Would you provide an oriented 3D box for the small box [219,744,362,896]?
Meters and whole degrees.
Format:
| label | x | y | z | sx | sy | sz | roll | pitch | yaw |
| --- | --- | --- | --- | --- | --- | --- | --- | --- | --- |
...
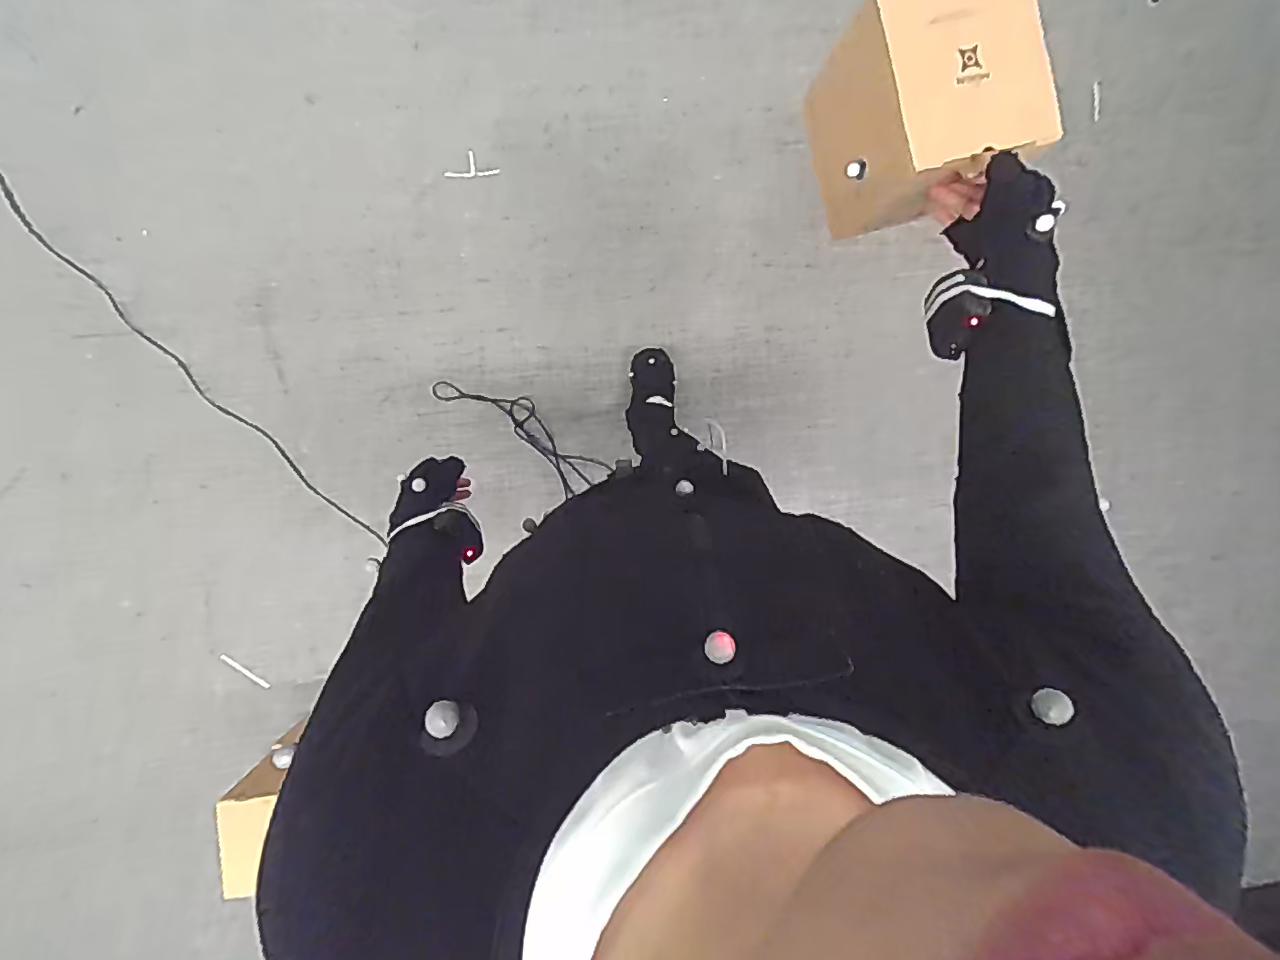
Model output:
| label | x | y | z | sx | sy | sz | roll | pitch | yaw |
| --- | --- | --- | --- | --- | --- | --- | --- | --- | --- |
| small box | -0.645 | 0.629 | 1.019 | 0.168 | 0.176 | 0.179 | -3 | 93 | -5 |

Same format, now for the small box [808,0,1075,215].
| label | x | y | z | sx | sy | sz | roll | pitch | yaw |
| --- | --- | --- | --- | --- | --- | --- | --- | --- | --- |
| small box | 0.304 | -0.408 | 0.577 | 0.168 | 0.176 | 0.179 | -16 | 94 | -6 |
